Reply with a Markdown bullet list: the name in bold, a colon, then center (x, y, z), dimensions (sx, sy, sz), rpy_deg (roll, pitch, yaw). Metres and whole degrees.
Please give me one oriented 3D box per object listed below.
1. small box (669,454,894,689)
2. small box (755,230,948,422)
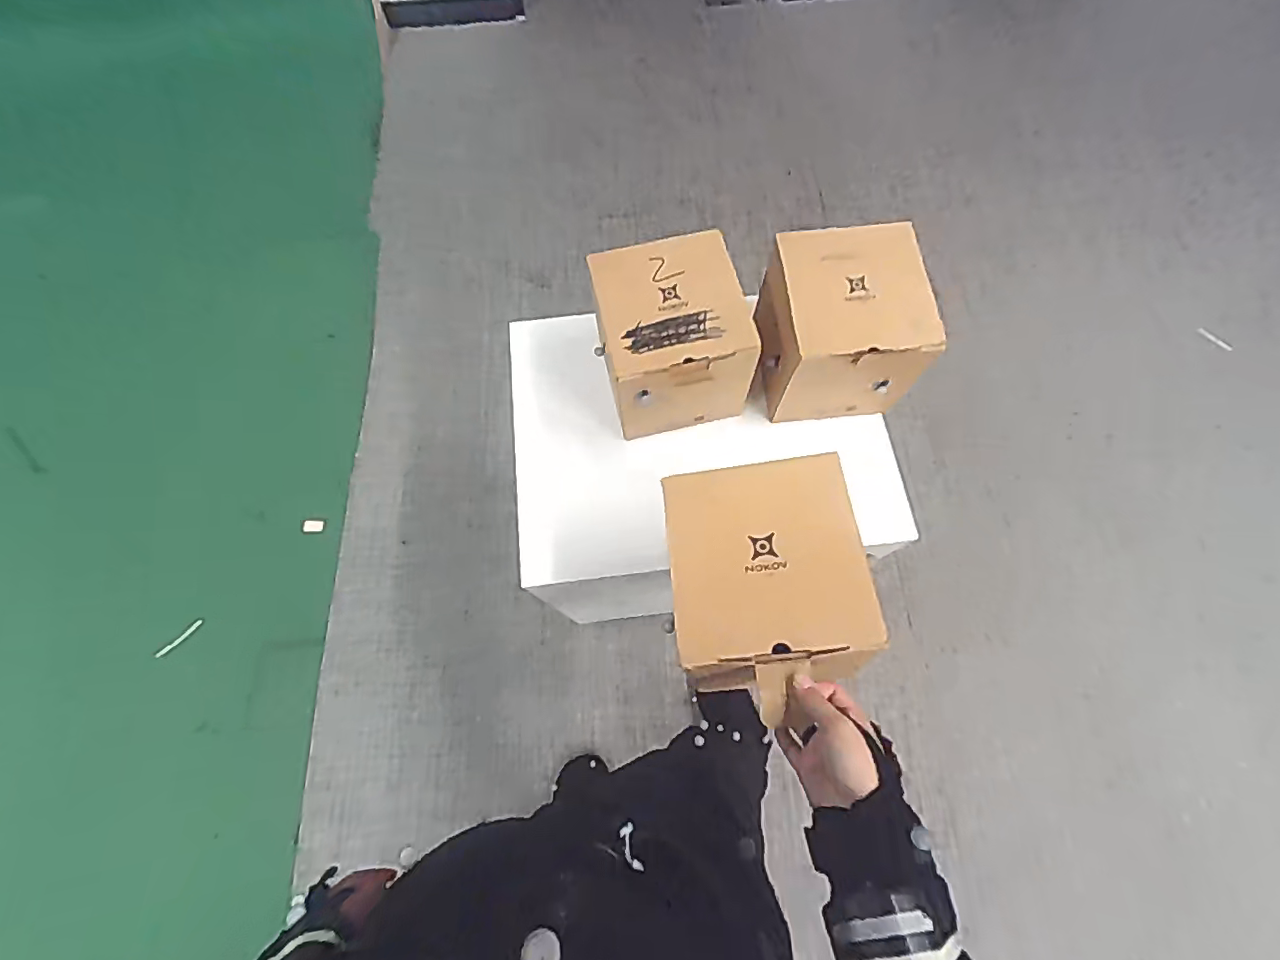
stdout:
- **small box**: center (0.125, 0.099, 0.535), dimensions (0.168, 0.176, 0.179), rpy_deg (-9, 62, 7)
- **small box**: center (0.252, -0.185, 0.693), dimensions (0.168, 0.176, 0.179), rpy_deg (-5, 70, -1)
